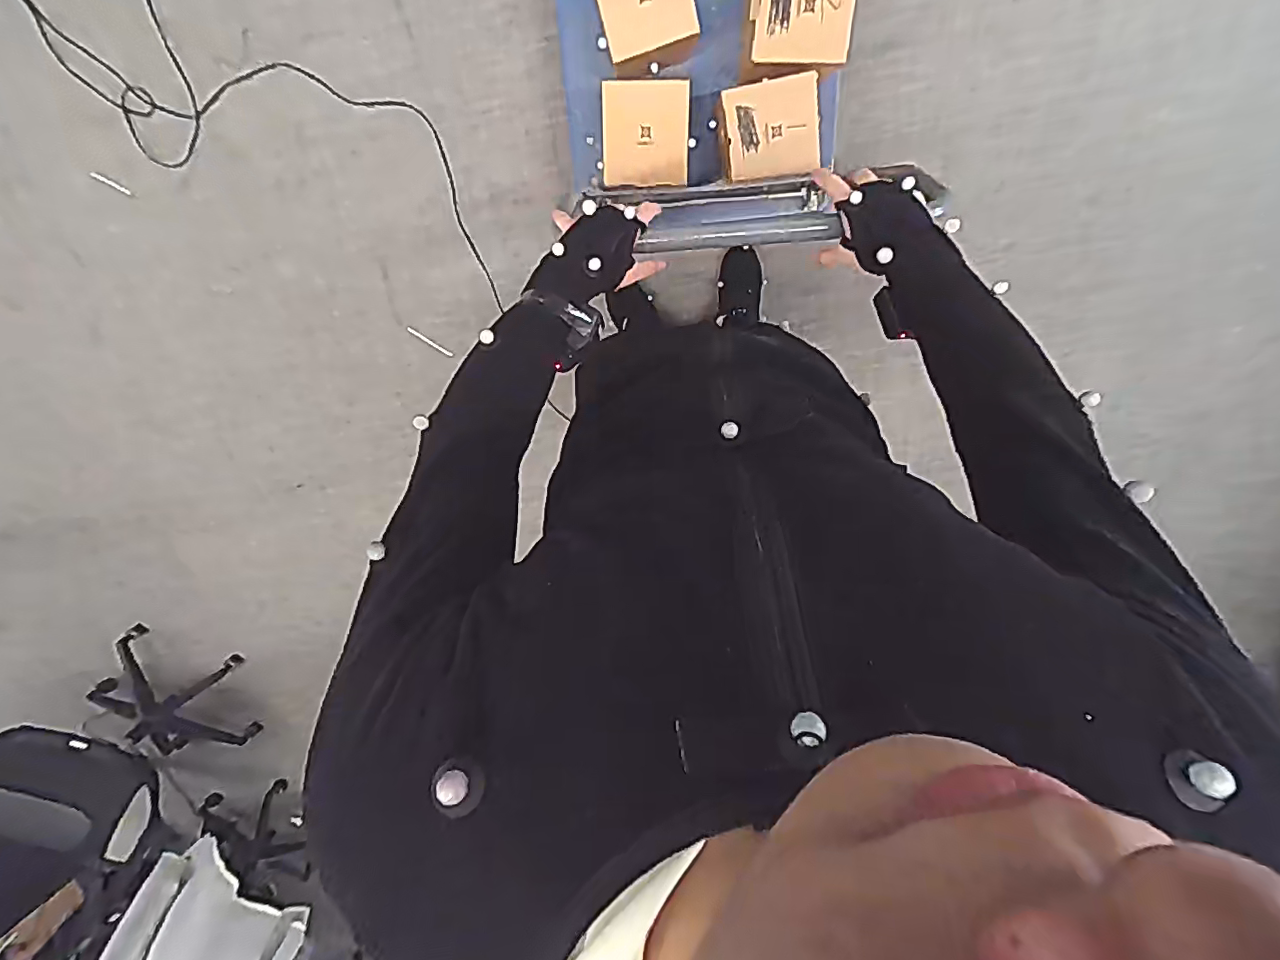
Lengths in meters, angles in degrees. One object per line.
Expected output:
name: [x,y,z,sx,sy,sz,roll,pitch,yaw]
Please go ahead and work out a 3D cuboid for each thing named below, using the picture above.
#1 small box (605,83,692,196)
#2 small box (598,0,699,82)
small box: [0.015,-0.690,1.111,0.168,0.176,0.179,0,115,1]
small box: [0.011,-0.885,1.020,0.168,0.176,0.179,-14,113,7]
